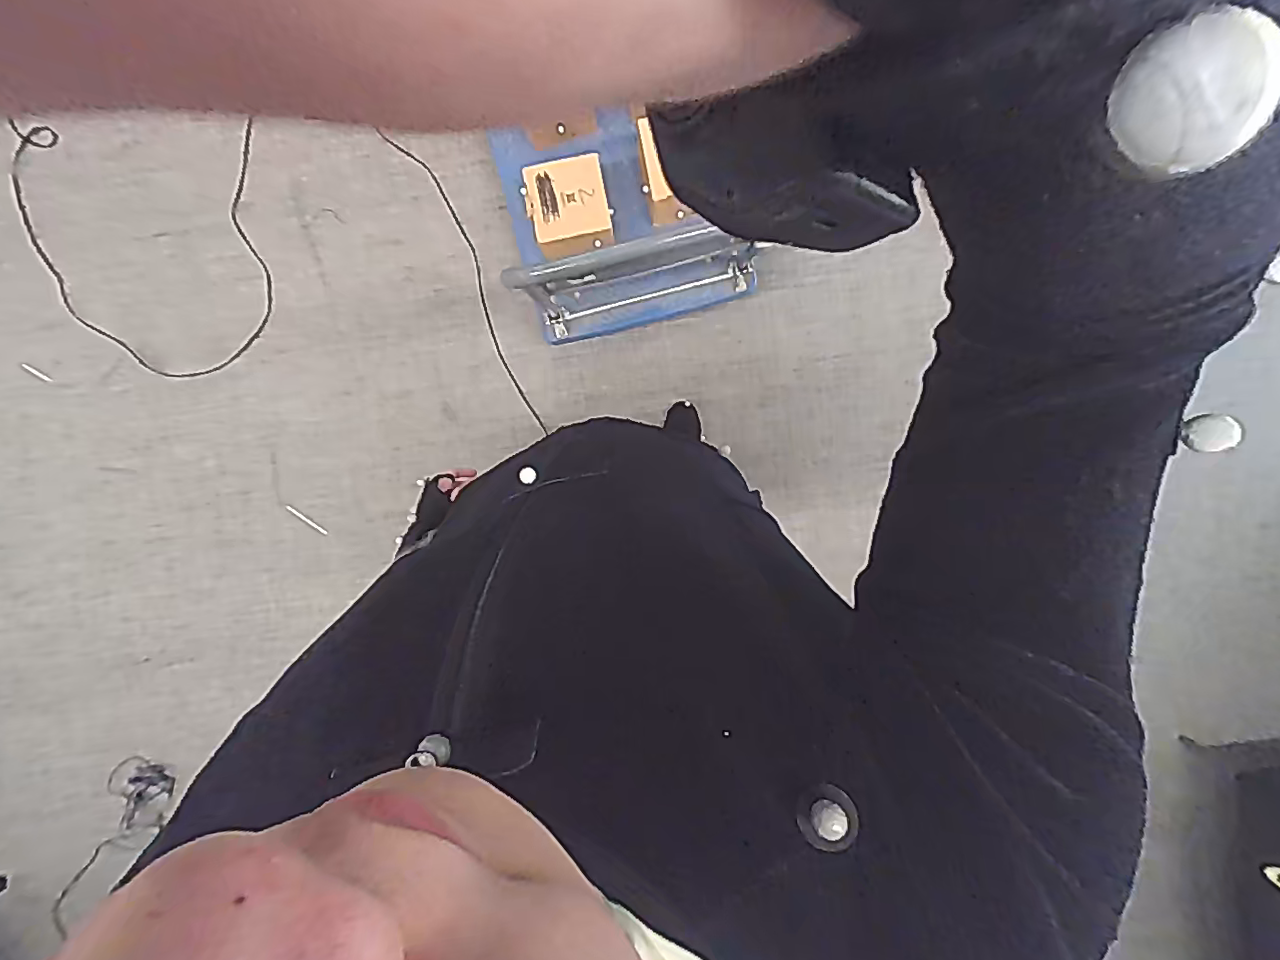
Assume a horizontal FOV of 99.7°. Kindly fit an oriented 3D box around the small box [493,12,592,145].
[{"bbox_3d":[-0.216,-0.912,1.253,0.168,0.176,0.179,-18,97,1],"label":"small box"}]

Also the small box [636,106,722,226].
[{"bbox_3d":[0.086,-0.734,1.280,0.168,0.176,0.179,-12,96,1],"label":"small box"}]

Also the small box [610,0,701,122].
[{"bbox_3d":[0.032,-0.975,1.246,0.168,0.176,0.179,-16,98,2],"label":"small box"}]
